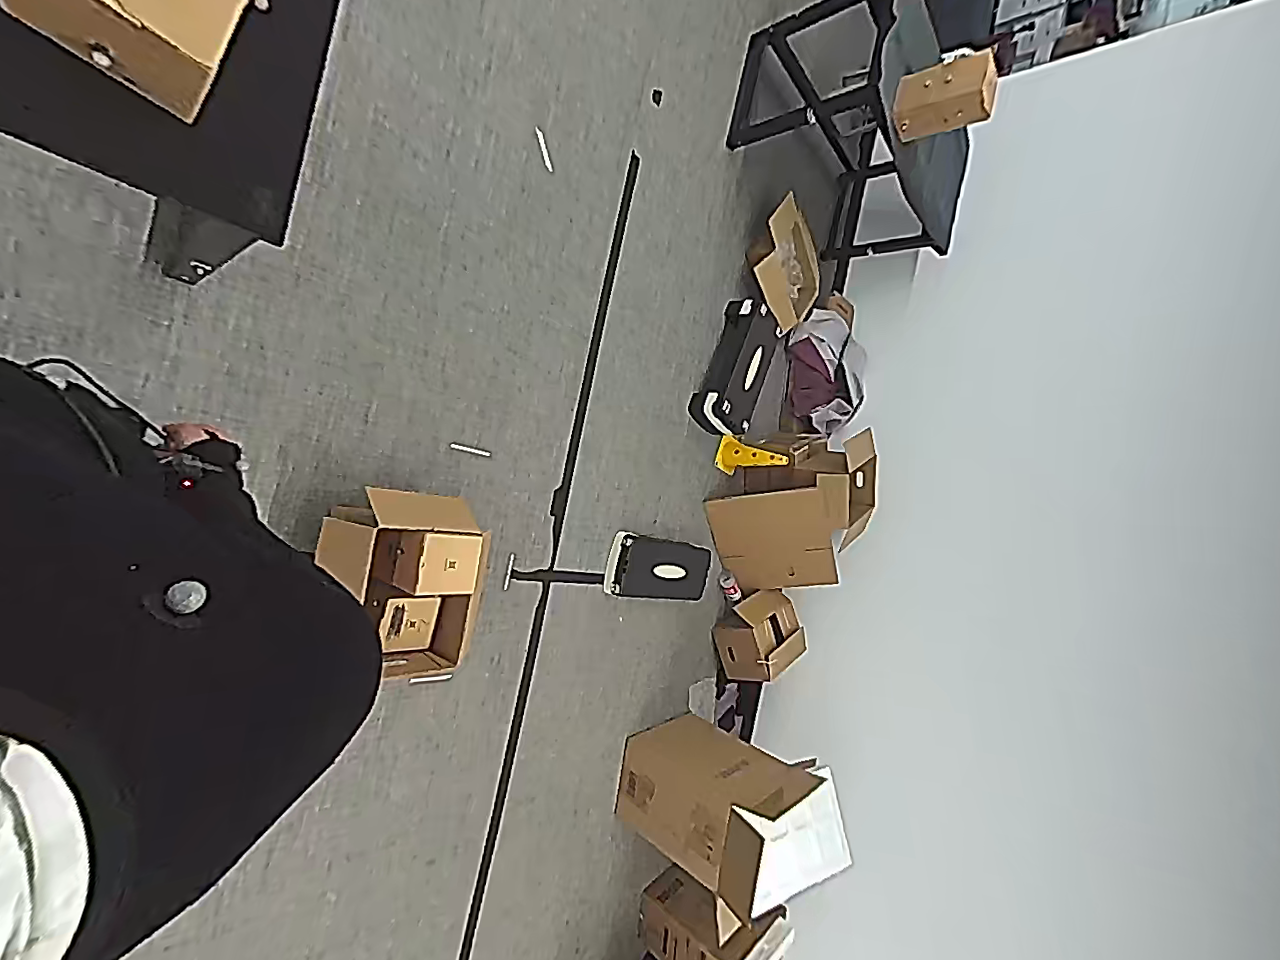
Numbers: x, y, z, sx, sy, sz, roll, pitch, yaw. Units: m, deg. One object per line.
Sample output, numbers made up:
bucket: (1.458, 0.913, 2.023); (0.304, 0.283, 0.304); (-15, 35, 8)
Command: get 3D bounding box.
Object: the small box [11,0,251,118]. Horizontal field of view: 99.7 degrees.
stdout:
small box: (-0.538, -0.545, 0.582); (0.168, 0.176, 0.179); (24, 80, -46)
